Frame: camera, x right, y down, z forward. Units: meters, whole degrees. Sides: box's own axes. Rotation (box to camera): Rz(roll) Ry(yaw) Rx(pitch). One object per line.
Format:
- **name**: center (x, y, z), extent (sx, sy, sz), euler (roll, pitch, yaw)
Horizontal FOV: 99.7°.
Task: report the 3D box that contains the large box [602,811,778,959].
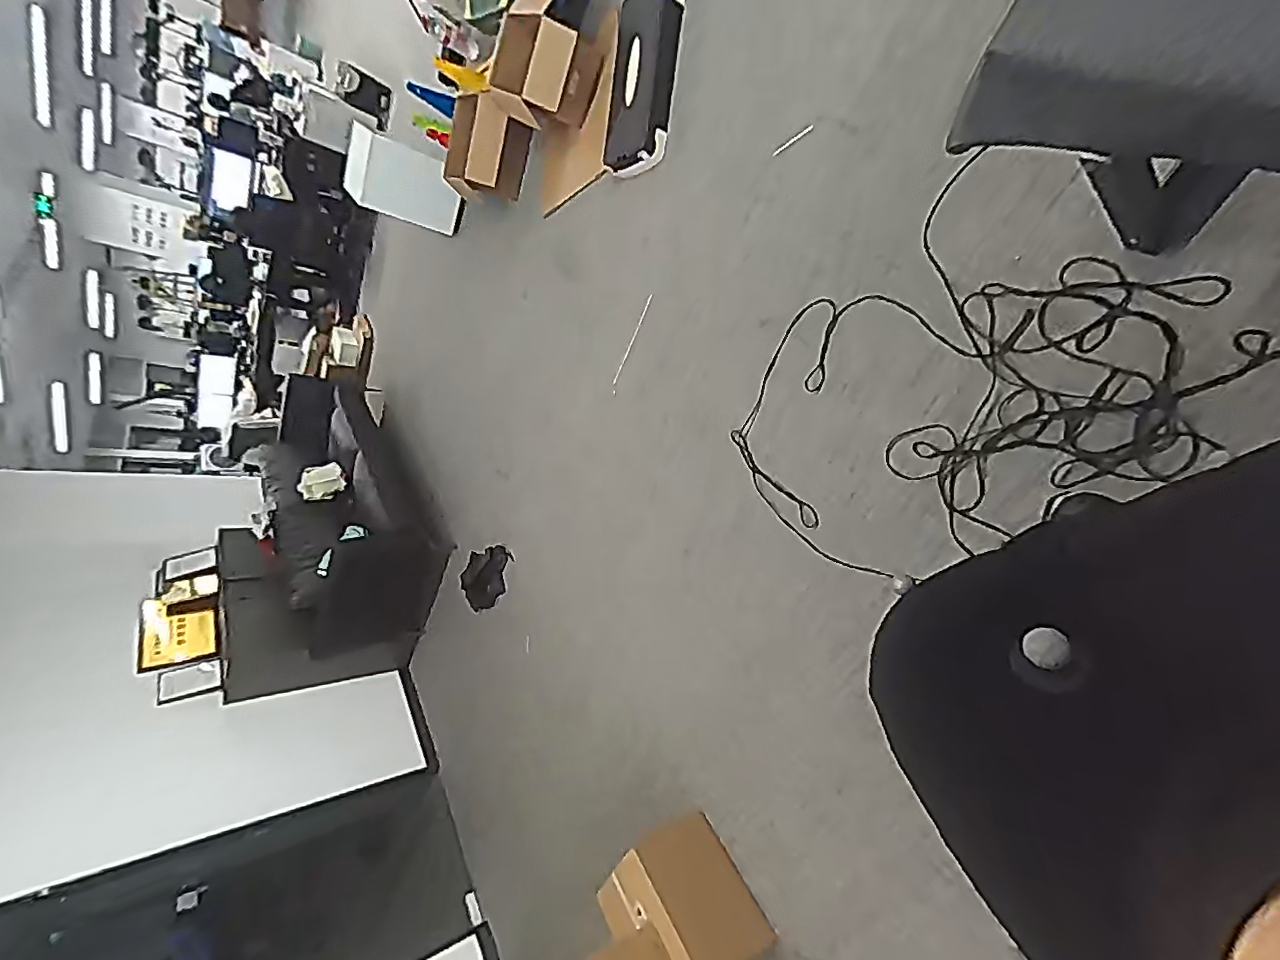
- **large box**: center (0.146, 1.359, 1.694), extent (0.408, 0.320, 0.320), euler (50, 123, 40)
